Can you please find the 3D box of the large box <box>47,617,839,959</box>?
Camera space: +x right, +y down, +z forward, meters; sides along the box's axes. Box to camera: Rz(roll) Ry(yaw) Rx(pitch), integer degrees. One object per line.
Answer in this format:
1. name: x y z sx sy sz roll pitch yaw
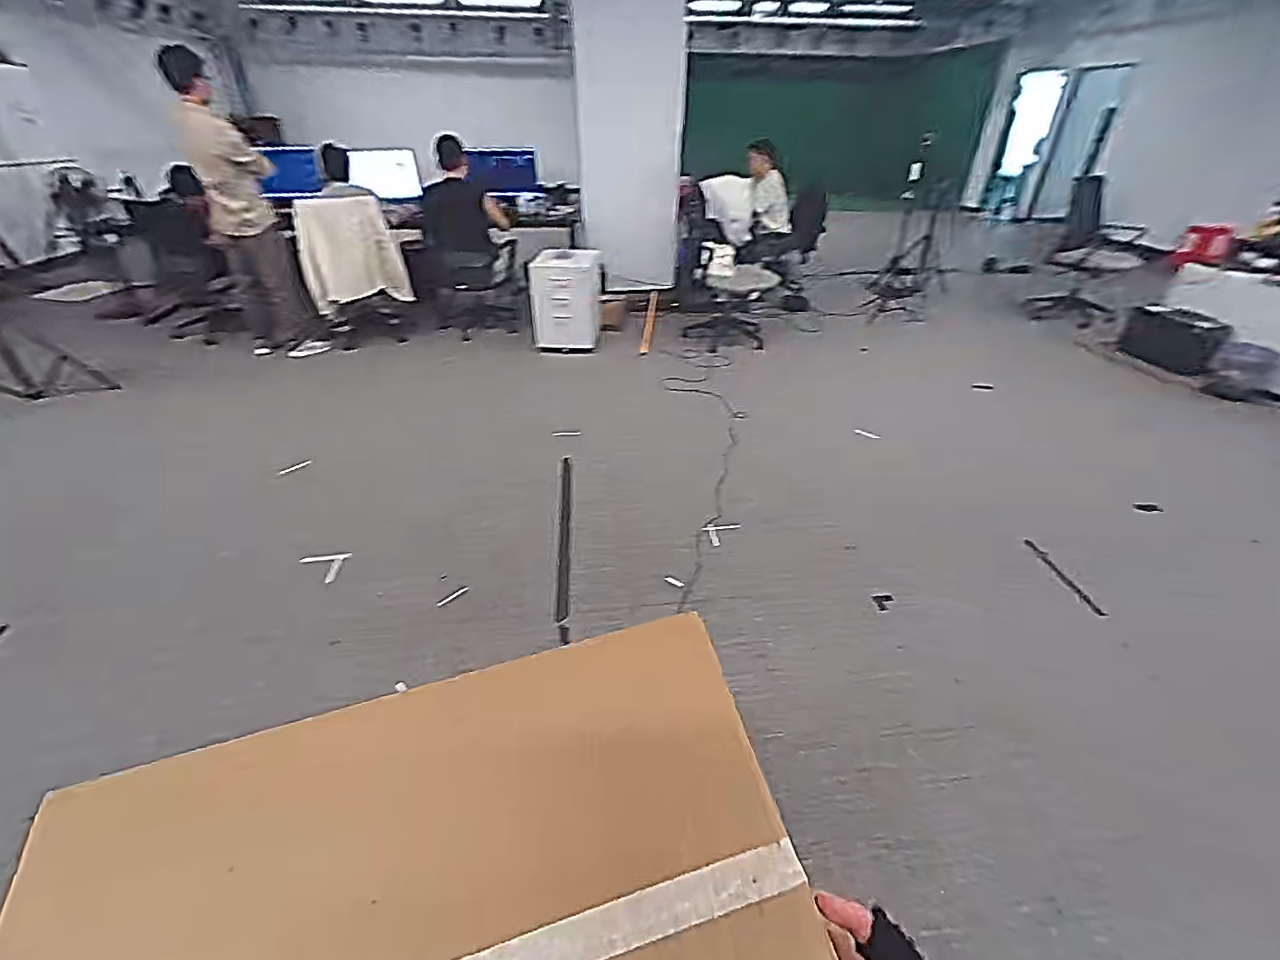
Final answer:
1. large box: -0.100 0.352 0.385 0.408 0.320 0.320 -12 52 -9
